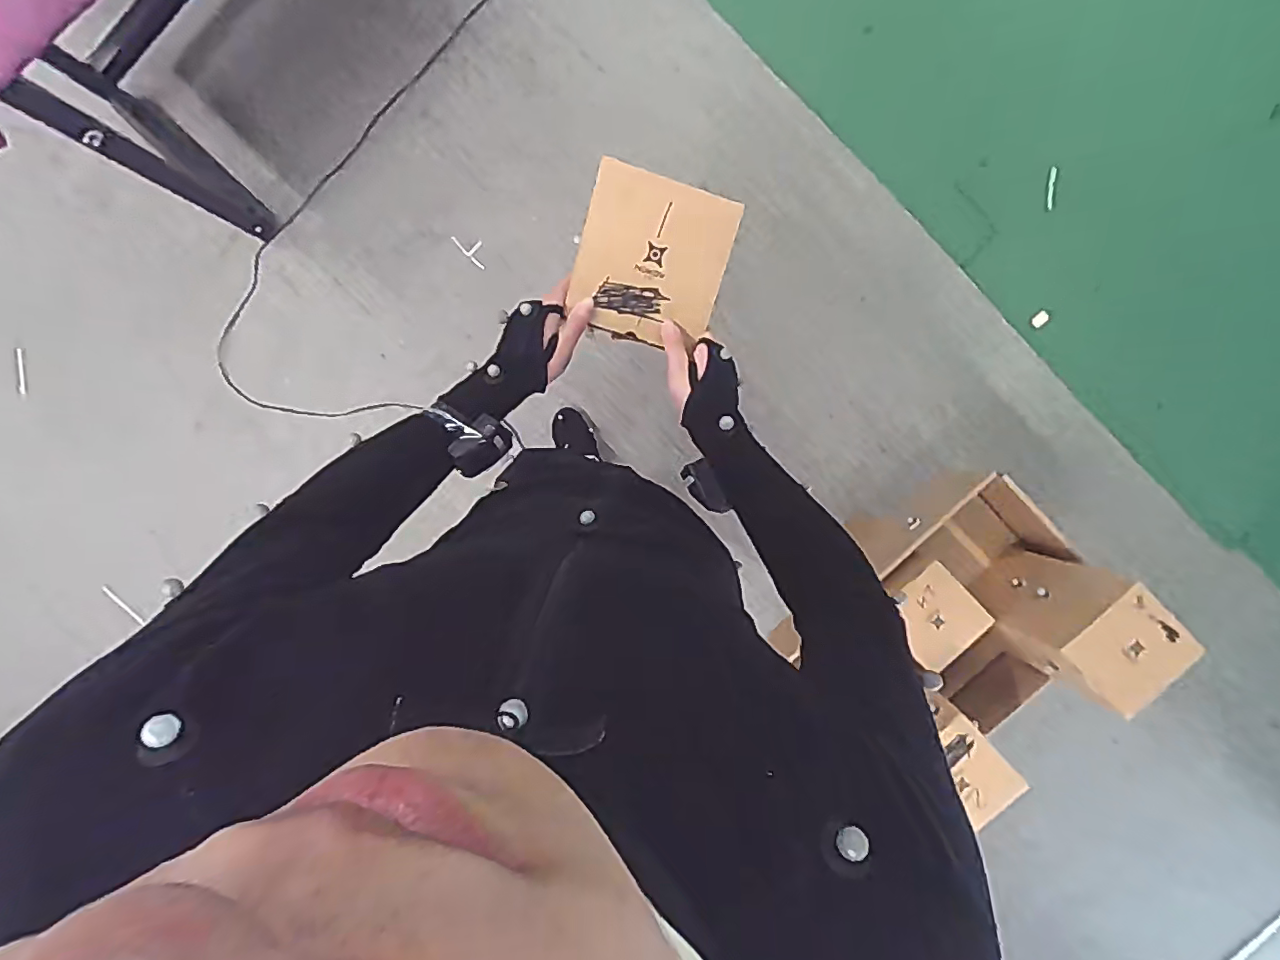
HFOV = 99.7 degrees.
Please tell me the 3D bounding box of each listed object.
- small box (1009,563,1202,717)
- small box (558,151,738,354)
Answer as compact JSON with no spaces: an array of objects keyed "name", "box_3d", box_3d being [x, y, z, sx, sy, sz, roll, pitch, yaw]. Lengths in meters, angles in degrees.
[{"name":"small box","box_3d":[0.814,0.277,0.974,0.179,0.176,0.168,-43,92,4]},{"name":"small box","box_3d":[0.003,-0.267,0.677,0.168,0.176,0.179,14,103,-8]}]
